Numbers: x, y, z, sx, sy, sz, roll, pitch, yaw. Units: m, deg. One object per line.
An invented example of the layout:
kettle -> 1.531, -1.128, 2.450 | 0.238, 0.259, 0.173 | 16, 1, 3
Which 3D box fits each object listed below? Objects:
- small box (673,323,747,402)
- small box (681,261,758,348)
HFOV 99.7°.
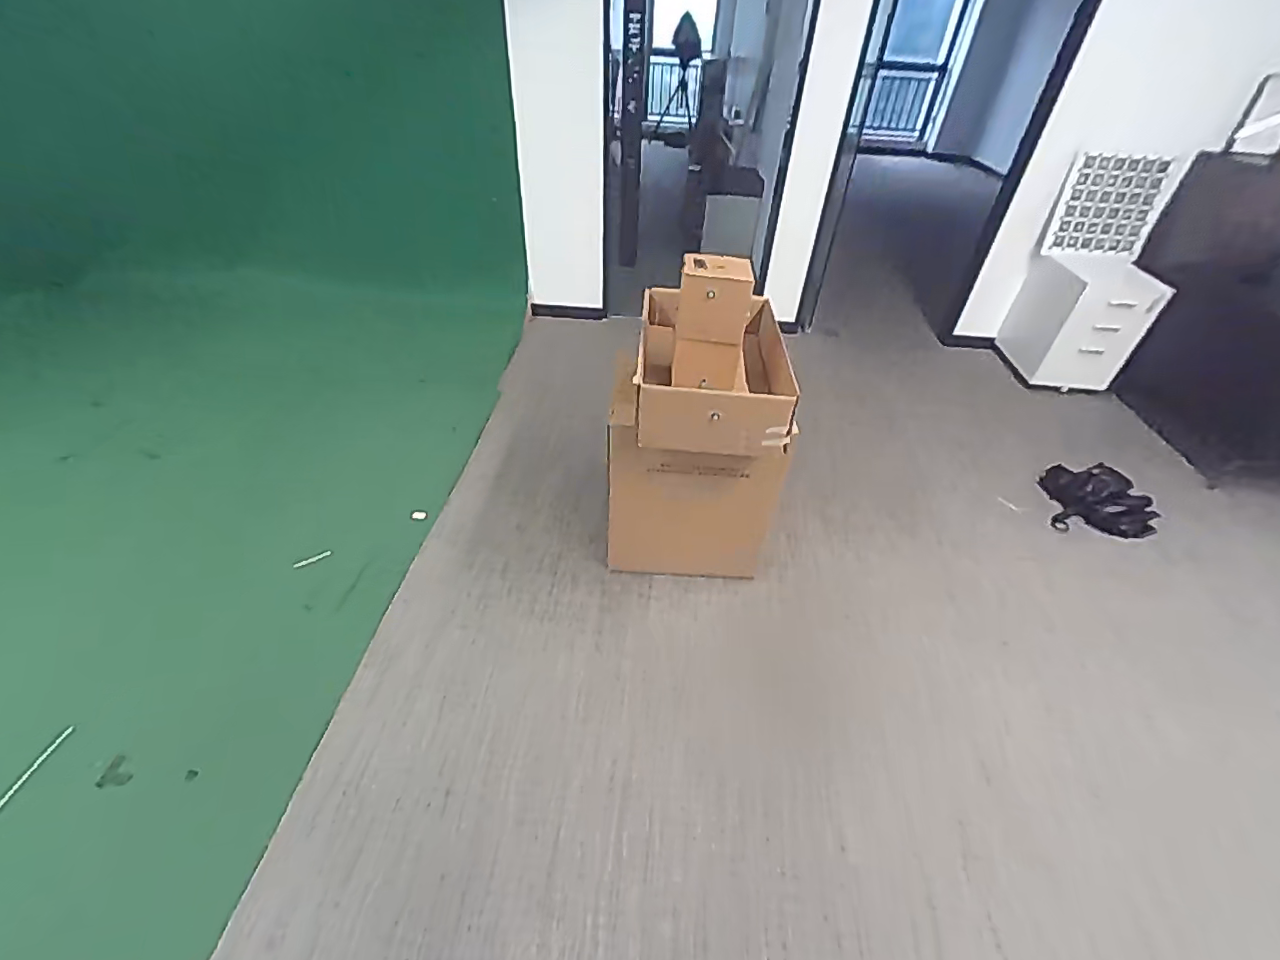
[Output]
small box -> 0.192, -0.336, 1.530 | 0.179, 0.176, 0.168 | 5, 38, 0
small box -> 0.203, -0.461, 1.424 | 0.179, 0.176, 0.168 | 7, 39, 2
